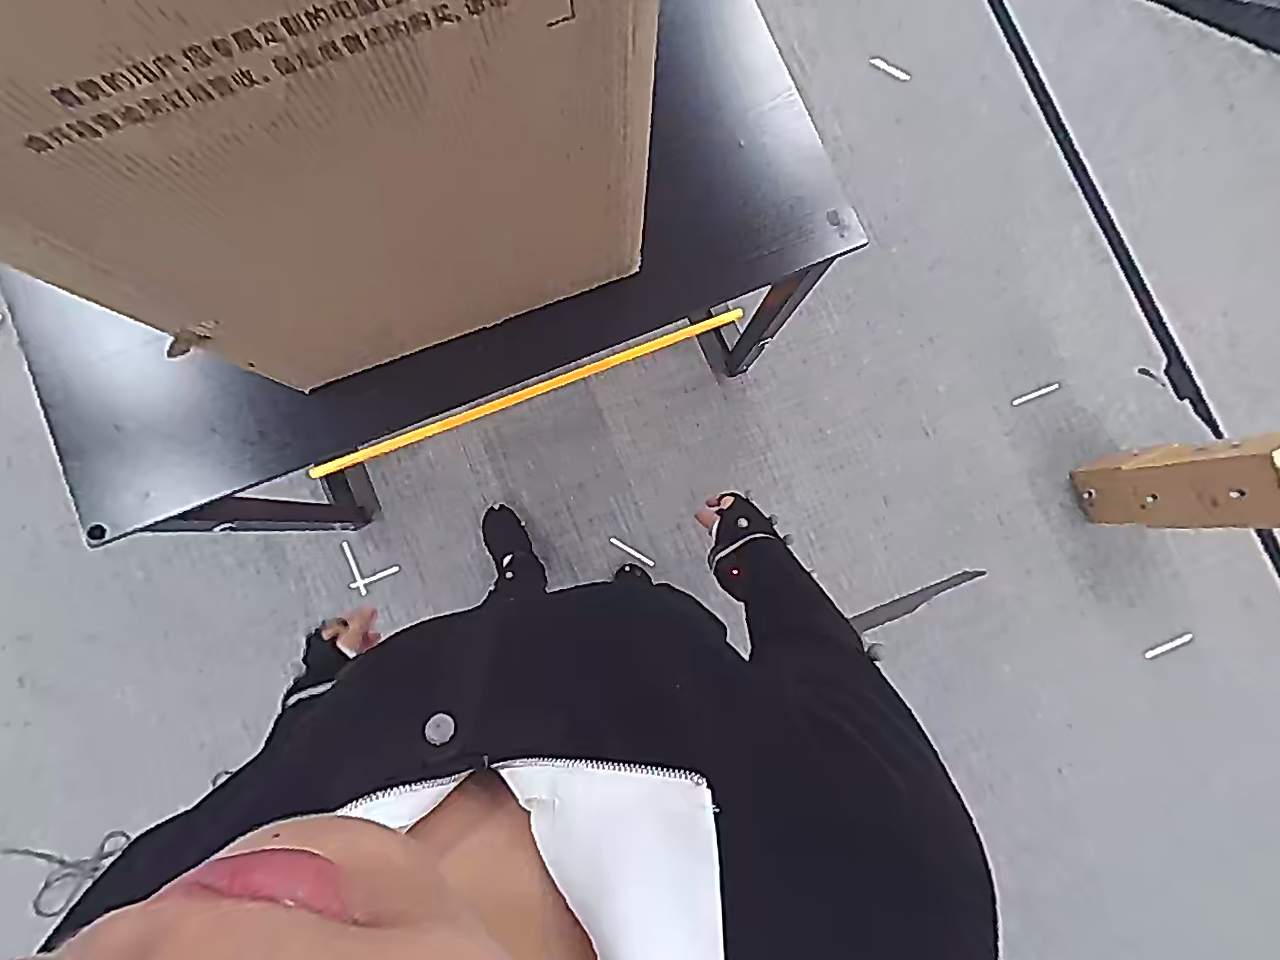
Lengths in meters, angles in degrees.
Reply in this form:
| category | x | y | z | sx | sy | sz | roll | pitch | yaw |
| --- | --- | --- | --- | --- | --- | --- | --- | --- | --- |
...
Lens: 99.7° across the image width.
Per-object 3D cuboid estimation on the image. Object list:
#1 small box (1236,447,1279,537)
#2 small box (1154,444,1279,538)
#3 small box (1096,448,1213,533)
| category | x | y | z | sx | sy | sz | roll | pitch | yaw |
| --- | --- | --- | --- | --- | --- | --- | --- | --- | --- |
| small box | 1.377 | 0.013 | 1.089 | 0.179 | 0.176 | 0.168 | -21 | 86 | -4 |
| small box | 1.372 | 0.027 | 1.252 | 0.179 | 0.176 | 0.168 | -21 | 86 | -4 |
| small box | 1.370 | 0.030 | 1.418 | 0.179 | 0.176 | 0.168 | -22 | 86 | -3 |
